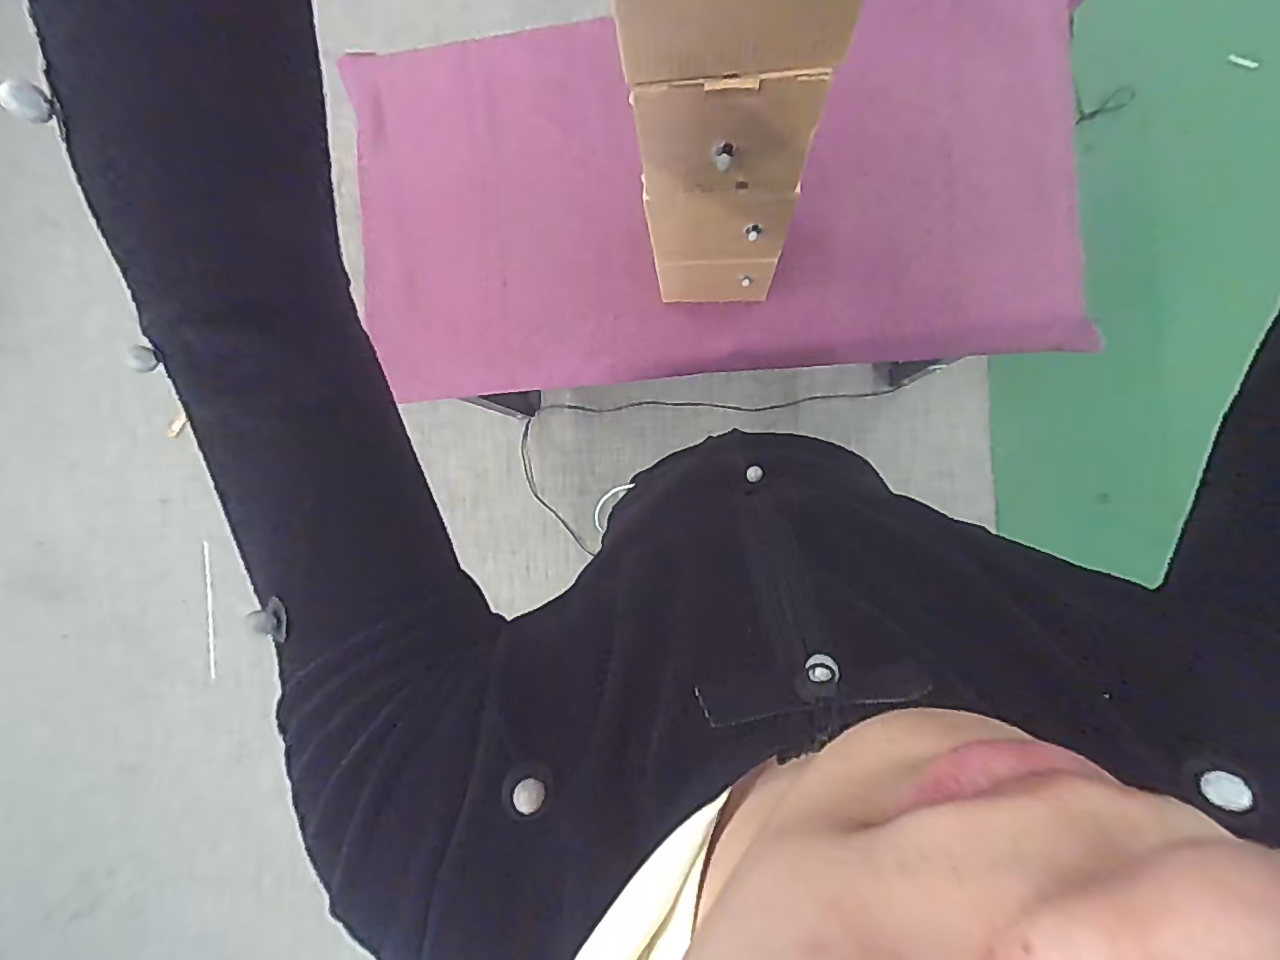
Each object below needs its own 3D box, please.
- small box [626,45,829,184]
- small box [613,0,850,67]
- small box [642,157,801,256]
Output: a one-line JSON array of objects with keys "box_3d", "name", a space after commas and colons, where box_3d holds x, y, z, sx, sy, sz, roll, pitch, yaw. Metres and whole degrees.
[{"box_3d": [0.081, -0.406, 0.516, 0.168, 0.176, 0.179, 1, 89, 6], "name": "small box"}, {"box_3d": [0.062, -0.412, 0.352, 0.179, 0.176, 0.168, -1, 88, 5], "name": "small box"}, {"box_3d": [0.099, -0.396, 0.677, 0.179, 0.176, 0.168, 1, 89, 7], "name": "small box"}]
